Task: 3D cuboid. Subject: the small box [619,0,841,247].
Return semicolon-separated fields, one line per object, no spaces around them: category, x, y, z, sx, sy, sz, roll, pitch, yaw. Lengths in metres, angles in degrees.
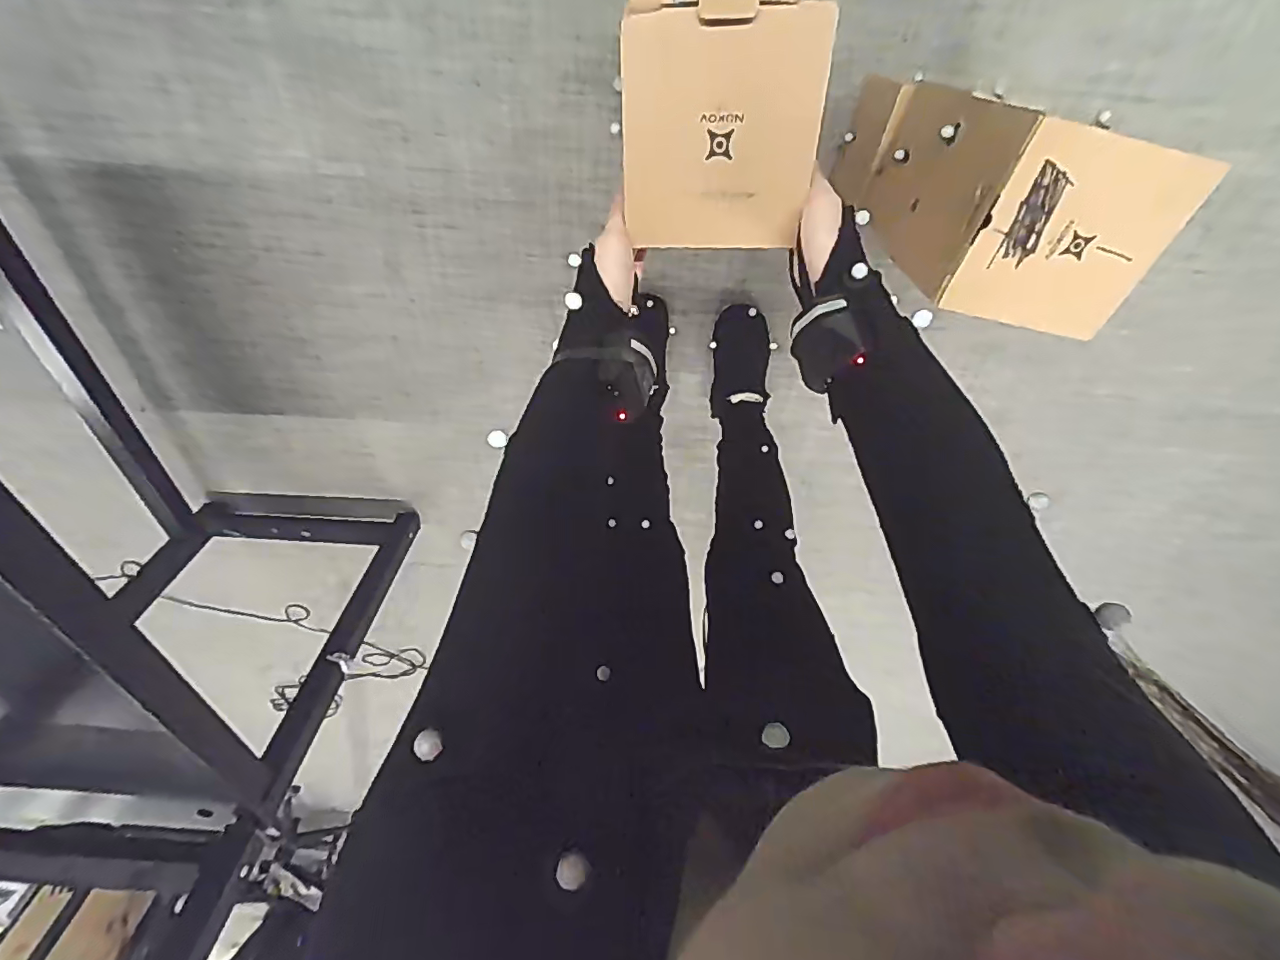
small box;0.070;-0.331;0.504;0.168;0.176;0.179;0;128;4

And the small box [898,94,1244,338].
small box;0.394;-0.268;0.541;0.179;0.176;0.168;10;130;-5

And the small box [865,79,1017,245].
small box;0.409;-0.372;0.667;0.179;0.176;0.168;12;130;-7
